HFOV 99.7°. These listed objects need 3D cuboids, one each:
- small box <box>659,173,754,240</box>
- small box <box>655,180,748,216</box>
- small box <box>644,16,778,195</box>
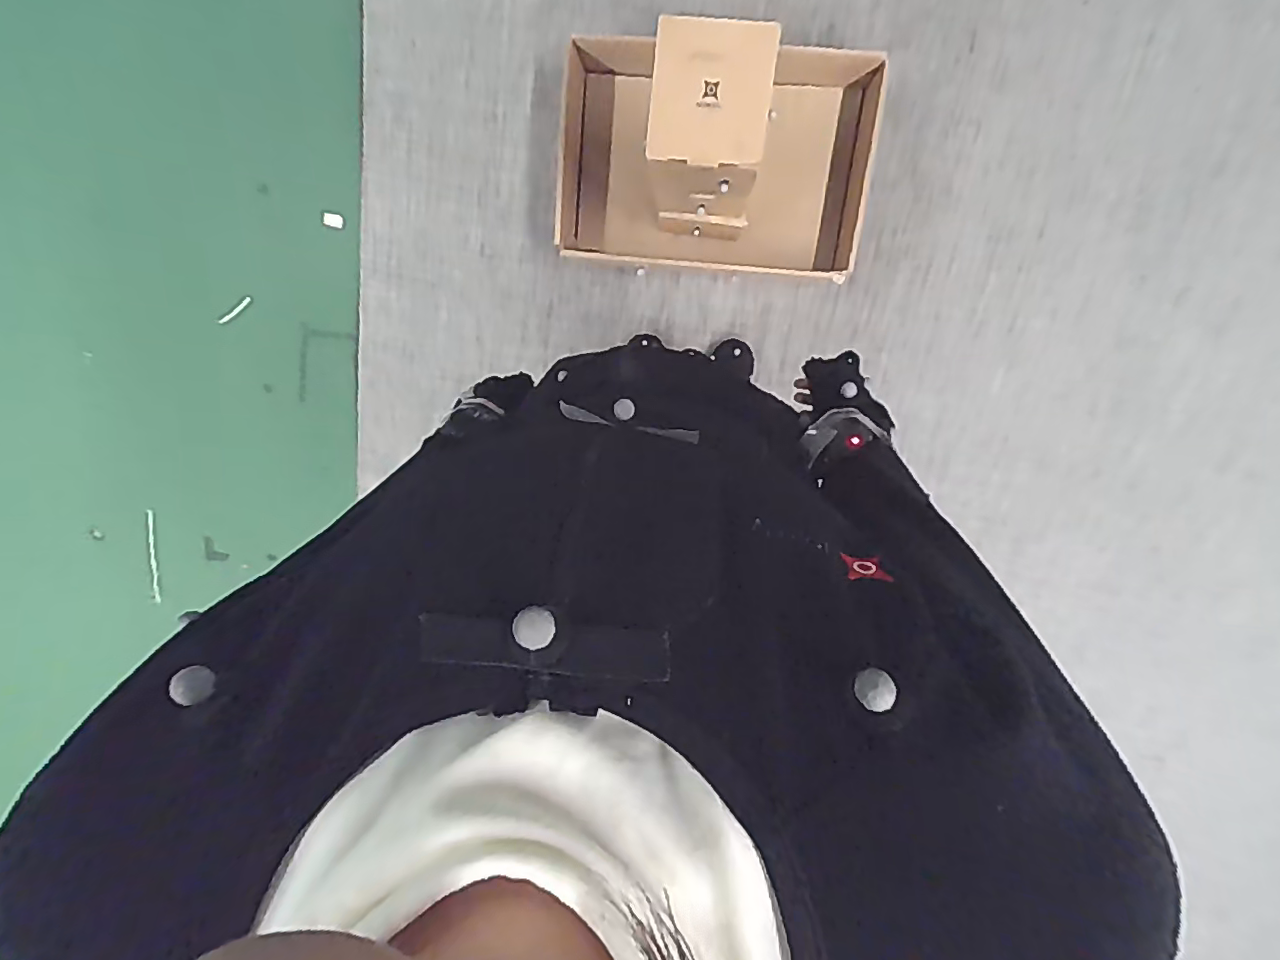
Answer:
[{"bbox_3d":[0.144,-0.622,1.153,0.179,0.176,0.168,10,104,5],"label":"small box"},{"bbox_3d":[0.122,-0.598,0.996,0.168,0.176,0.179,5,105,6],"label":"small box"},{"bbox_3d":[0.103,-0.551,0.821,0.168,0.176,0.179,7,104,3],"label":"small box"}]
